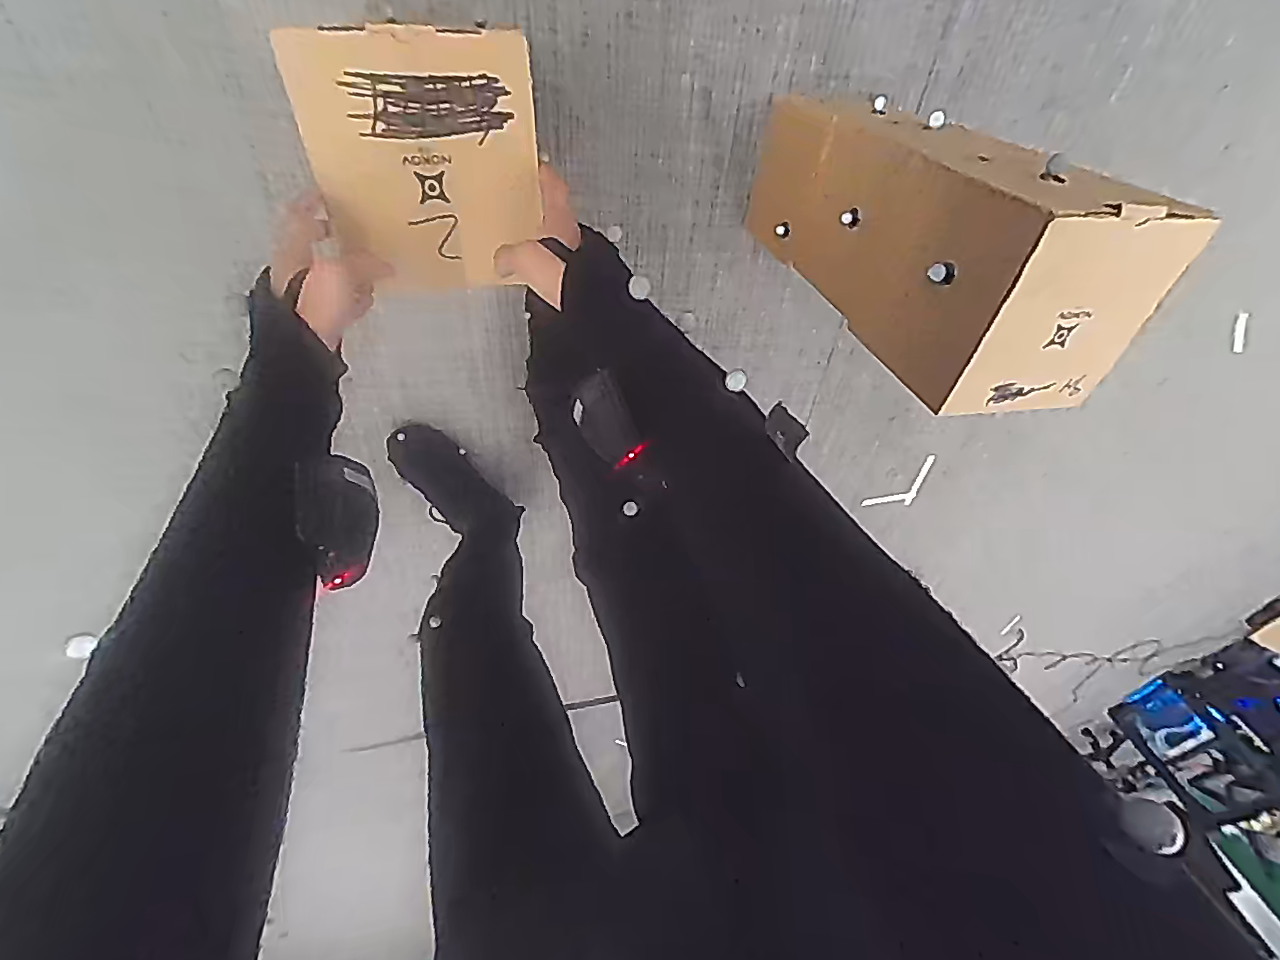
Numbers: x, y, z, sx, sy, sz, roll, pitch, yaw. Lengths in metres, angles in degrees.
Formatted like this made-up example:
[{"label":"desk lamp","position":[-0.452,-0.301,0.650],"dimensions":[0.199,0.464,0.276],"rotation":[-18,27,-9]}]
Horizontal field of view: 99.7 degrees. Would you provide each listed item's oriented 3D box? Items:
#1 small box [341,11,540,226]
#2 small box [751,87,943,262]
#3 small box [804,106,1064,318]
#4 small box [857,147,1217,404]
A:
[{"label":"small box","position":[-0.206,-0.402,0.601],"dimensions":[0.168,0.176,0.179],"rotation":[-6,134,-10]},{"label":"small box","position":[0.269,-0.414,0.736],"dimensions":[0.168,0.176,0.179],"rotation":[-4,134,-14]},{"label":"small box","position":[0.312,-0.304,0.622],"dimensions":[0.168,0.176,0.179],"rotation":[-5,134,-13]},{"label":"small box","position":[0.334,-0.192,0.503],"dimensions":[0.168,0.176,0.179],"rotation":[-5,133,-13]}]
